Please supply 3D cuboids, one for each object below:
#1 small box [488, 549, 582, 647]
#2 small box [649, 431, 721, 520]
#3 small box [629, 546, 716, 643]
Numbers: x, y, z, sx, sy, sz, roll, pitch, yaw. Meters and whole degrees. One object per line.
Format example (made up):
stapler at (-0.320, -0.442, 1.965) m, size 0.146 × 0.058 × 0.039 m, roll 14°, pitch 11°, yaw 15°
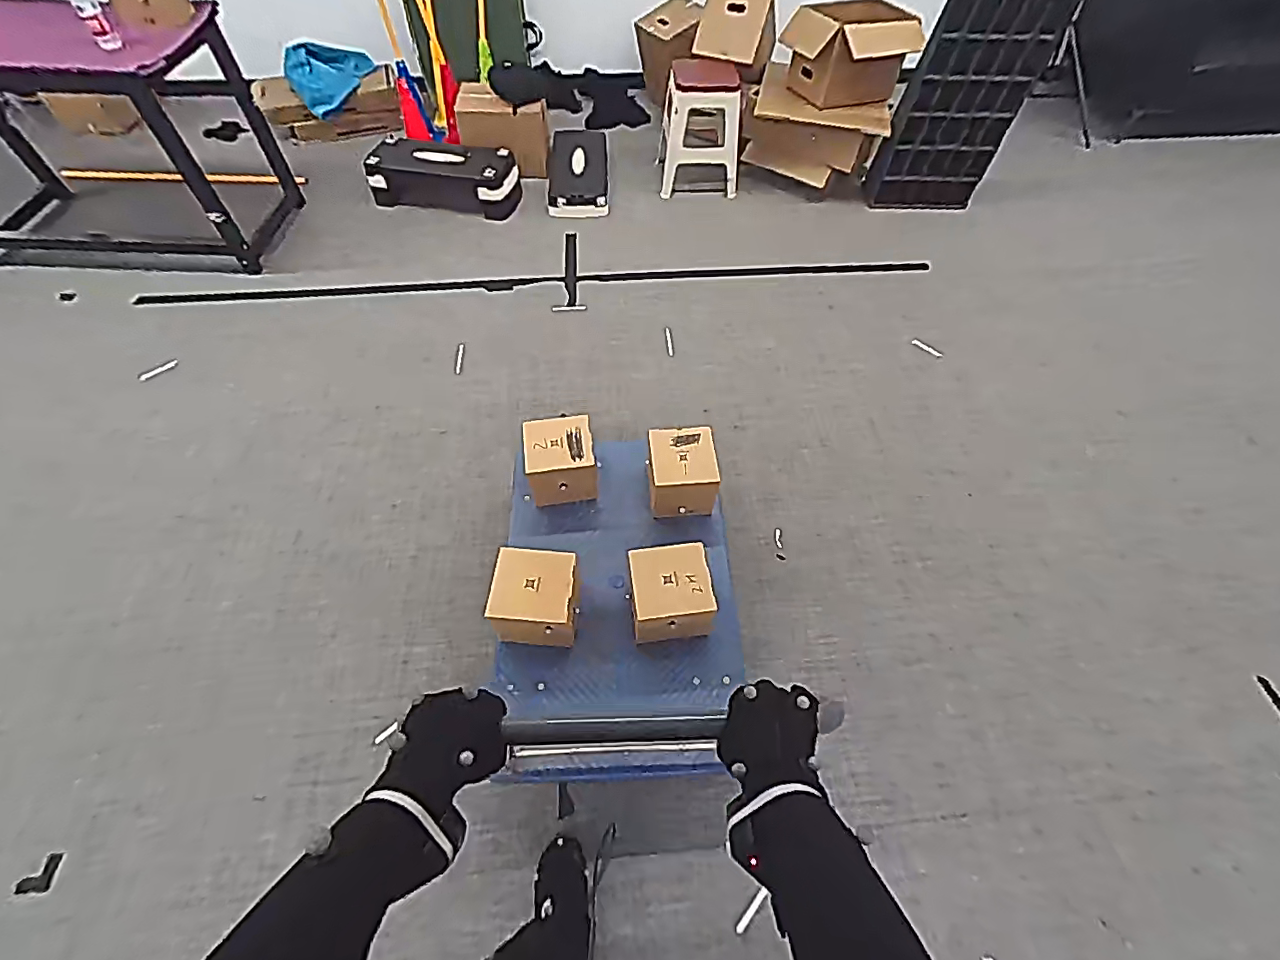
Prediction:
small box at (-0.234, 0.276, 1.251) m, size 0.179 × 0.176 × 0.168 m, roll 5°, pitch 56°, yaw 0°
small box at (0.114, -0.011, 1.446) m, size 0.168 × 0.176 × 0.179 m, roll -3°, pitch 58°, yaw -3°
small box at (0.070, 0.271, 1.261) m, size 0.179 × 0.176 × 0.168 m, roll -5°, pitch 57°, yaw -5°
